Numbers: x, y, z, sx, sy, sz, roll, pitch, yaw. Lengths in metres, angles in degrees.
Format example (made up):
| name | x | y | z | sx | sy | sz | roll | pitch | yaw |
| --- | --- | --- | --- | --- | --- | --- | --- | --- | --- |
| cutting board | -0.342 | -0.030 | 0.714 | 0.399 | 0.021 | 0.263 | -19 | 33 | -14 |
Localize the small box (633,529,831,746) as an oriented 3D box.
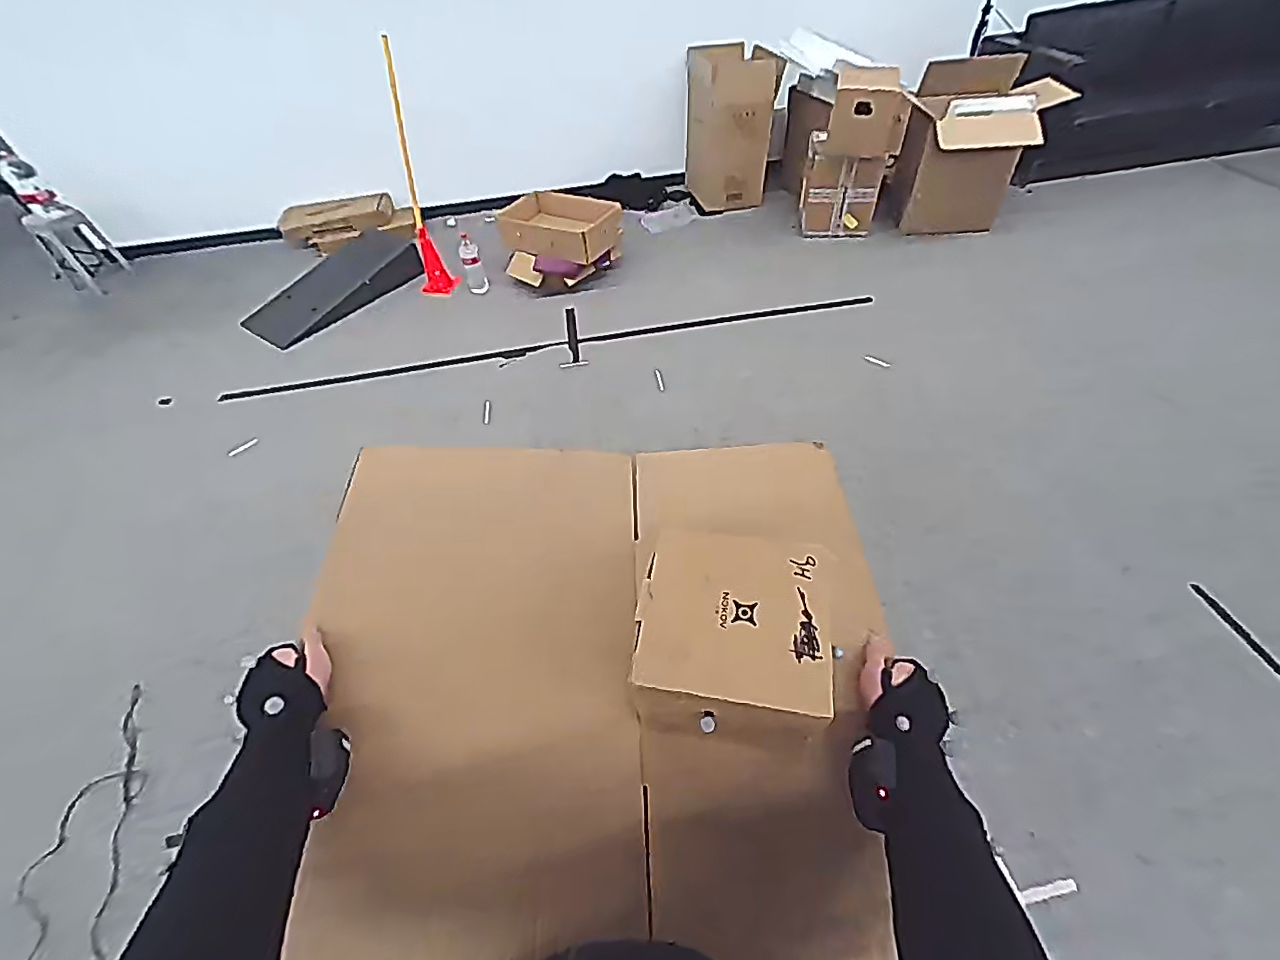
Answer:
| name | x | y | z | sx | sy | sz | roll | pitch | yaw |
| --- | --- | --- | --- | --- | --- | --- | --- | --- | --- |
| small box | 0.101 | 0.172 | 0.579 | 0.179 | 0.176 | 0.168 | 5 | 55 | 11 |
